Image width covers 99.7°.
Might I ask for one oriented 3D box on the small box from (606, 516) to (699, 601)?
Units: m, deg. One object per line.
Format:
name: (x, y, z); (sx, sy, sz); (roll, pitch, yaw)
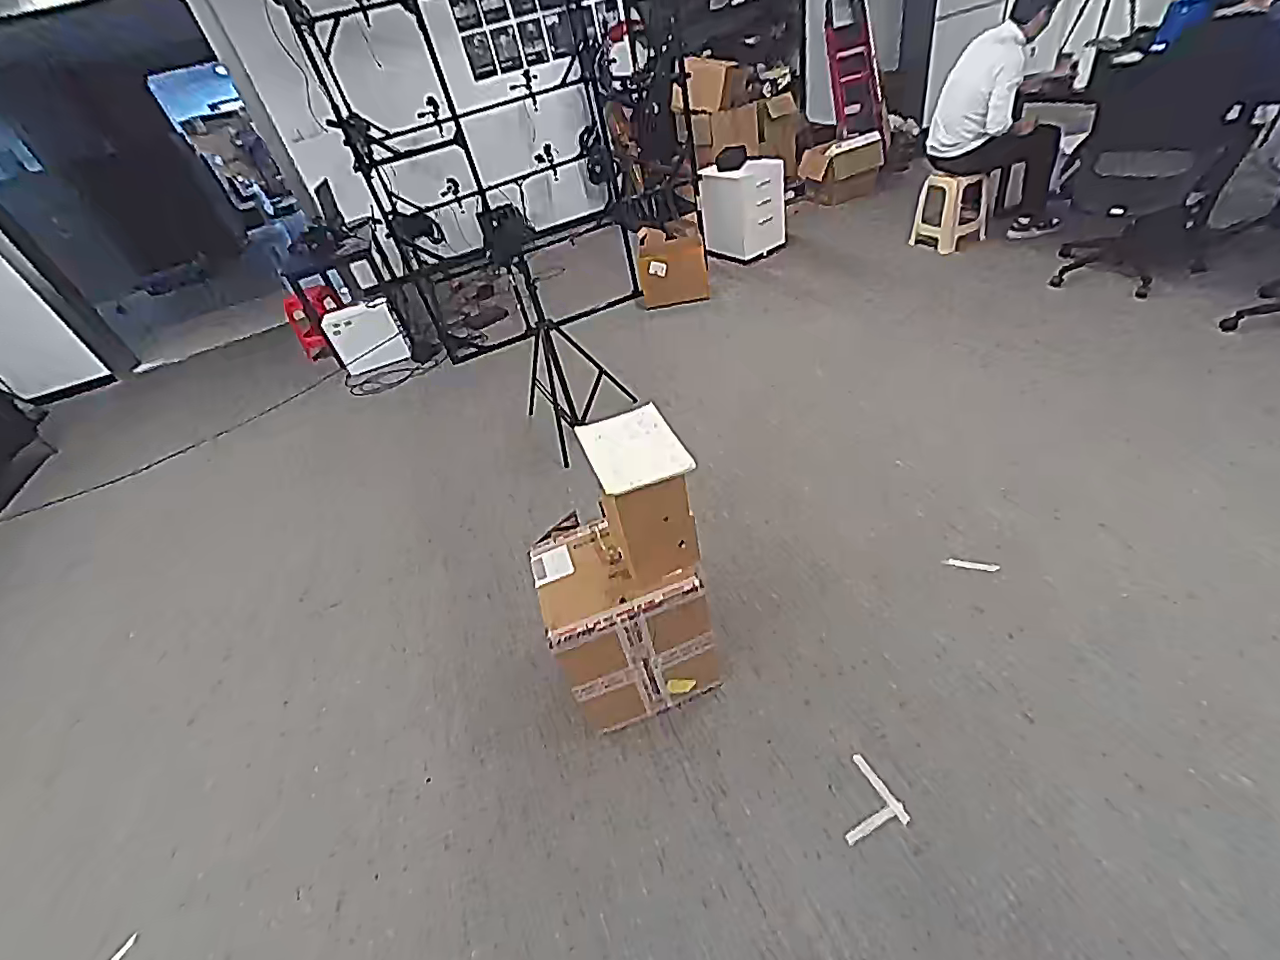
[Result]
small box: (0.036, 0.162, 1.335); (0.179, 0.176, 0.168); (-24, 41, -12)

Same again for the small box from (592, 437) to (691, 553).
small box: (0.003, 0.034, 1.237); (0.168, 0.176, 0.179); (-21, 40, -11)
